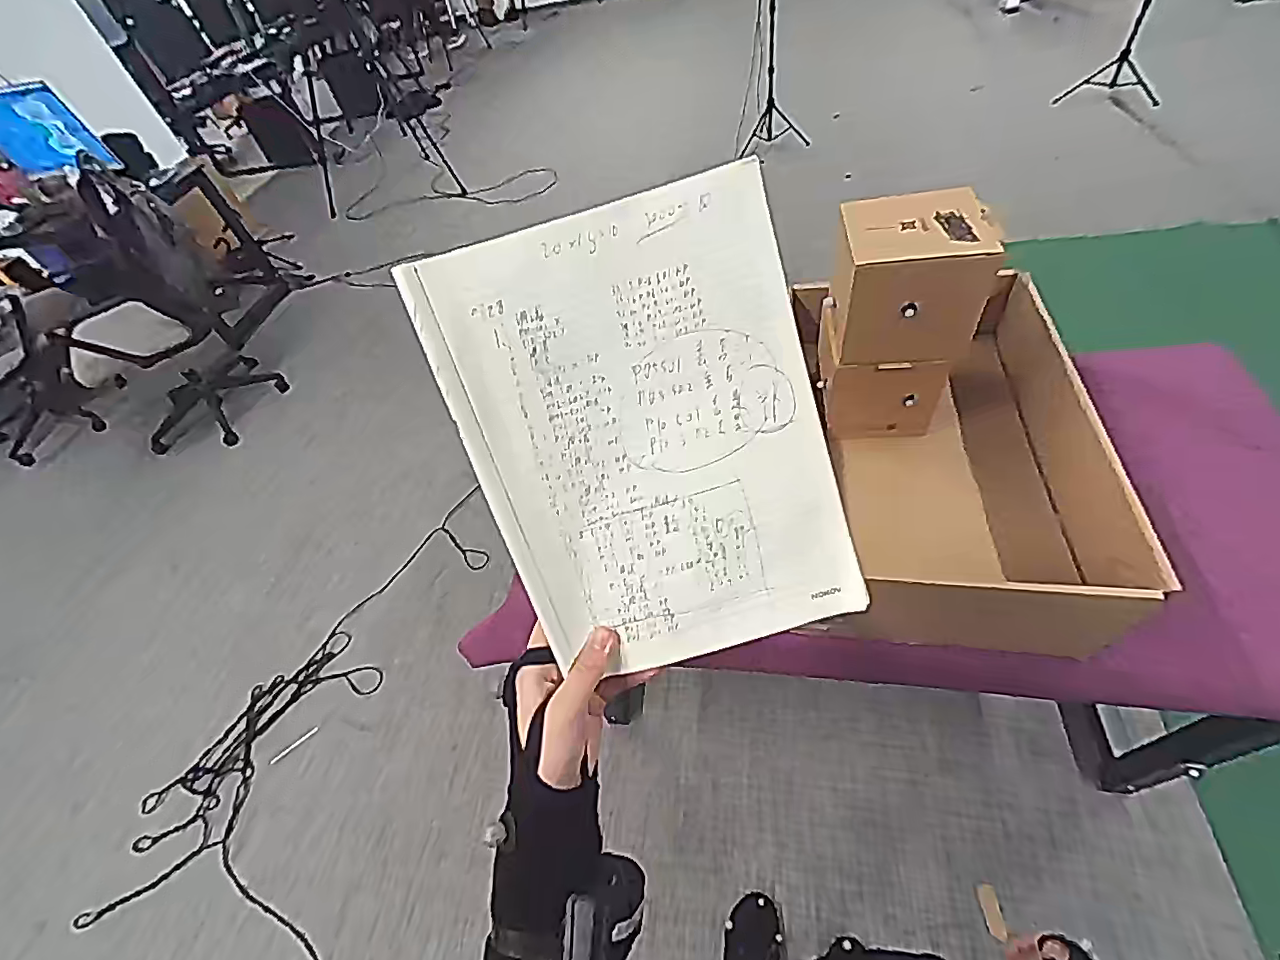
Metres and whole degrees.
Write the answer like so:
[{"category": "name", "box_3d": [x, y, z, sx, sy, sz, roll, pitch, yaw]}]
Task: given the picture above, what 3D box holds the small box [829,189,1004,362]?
[{"category": "small box", "box_3d": [0.380, -0.288, 0.780, 0.179, 0.176, 0.168, -1, 52, 11]}]
